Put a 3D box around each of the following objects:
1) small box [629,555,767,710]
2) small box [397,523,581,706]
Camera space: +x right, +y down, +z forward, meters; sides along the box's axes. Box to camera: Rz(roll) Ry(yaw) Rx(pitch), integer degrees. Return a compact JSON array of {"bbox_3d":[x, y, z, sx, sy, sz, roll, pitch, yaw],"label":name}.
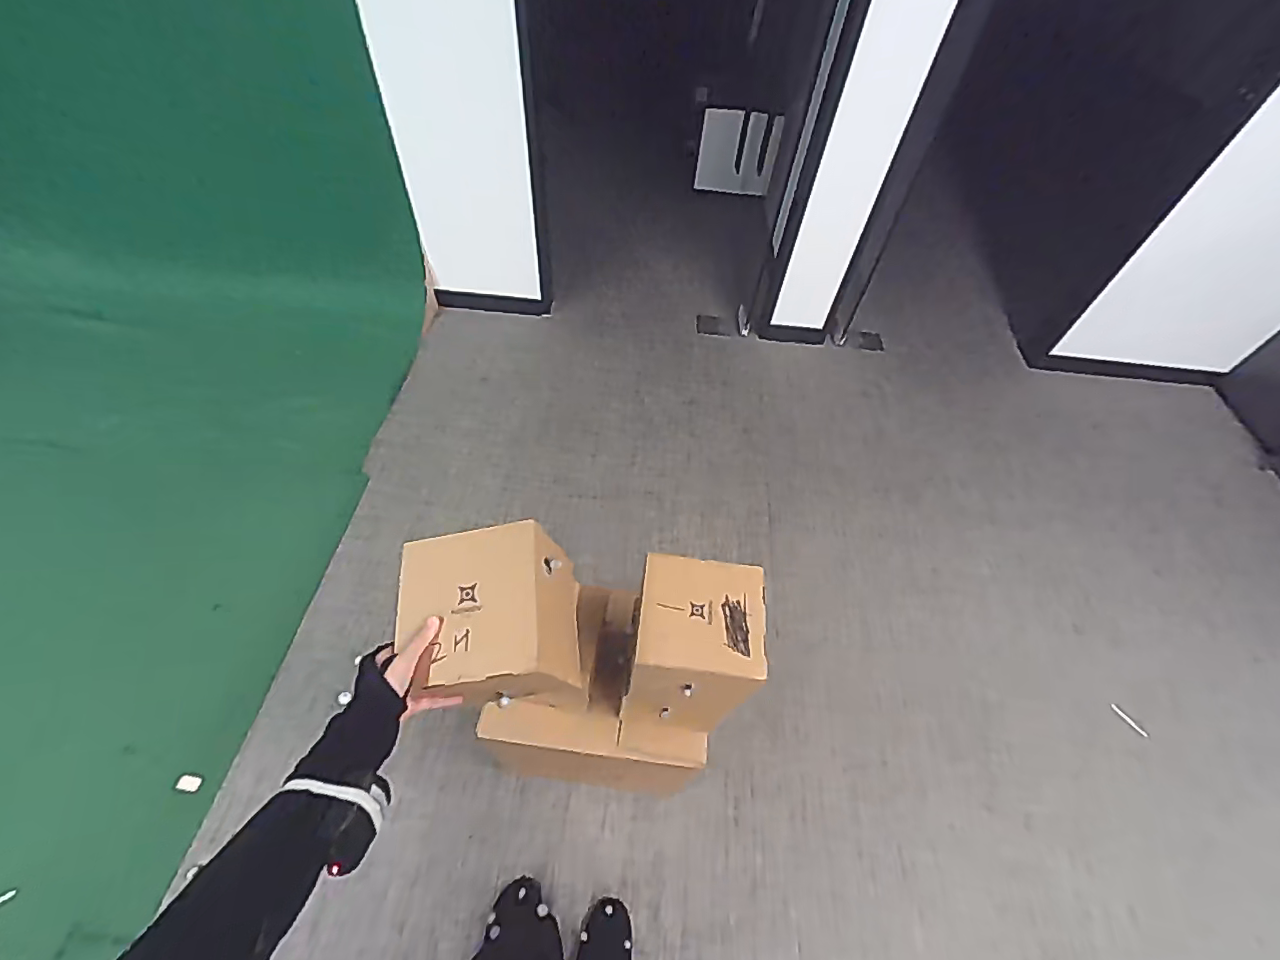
[{"bbox_3d":[0.084,0.235,0.811,0.179,0.176,0.168,8,54,2],"label":"small box"},{"bbox_3d":[-0.176,0.175,0.682,0.168,0.176,0.179,-10,62,6],"label":"small box"}]
